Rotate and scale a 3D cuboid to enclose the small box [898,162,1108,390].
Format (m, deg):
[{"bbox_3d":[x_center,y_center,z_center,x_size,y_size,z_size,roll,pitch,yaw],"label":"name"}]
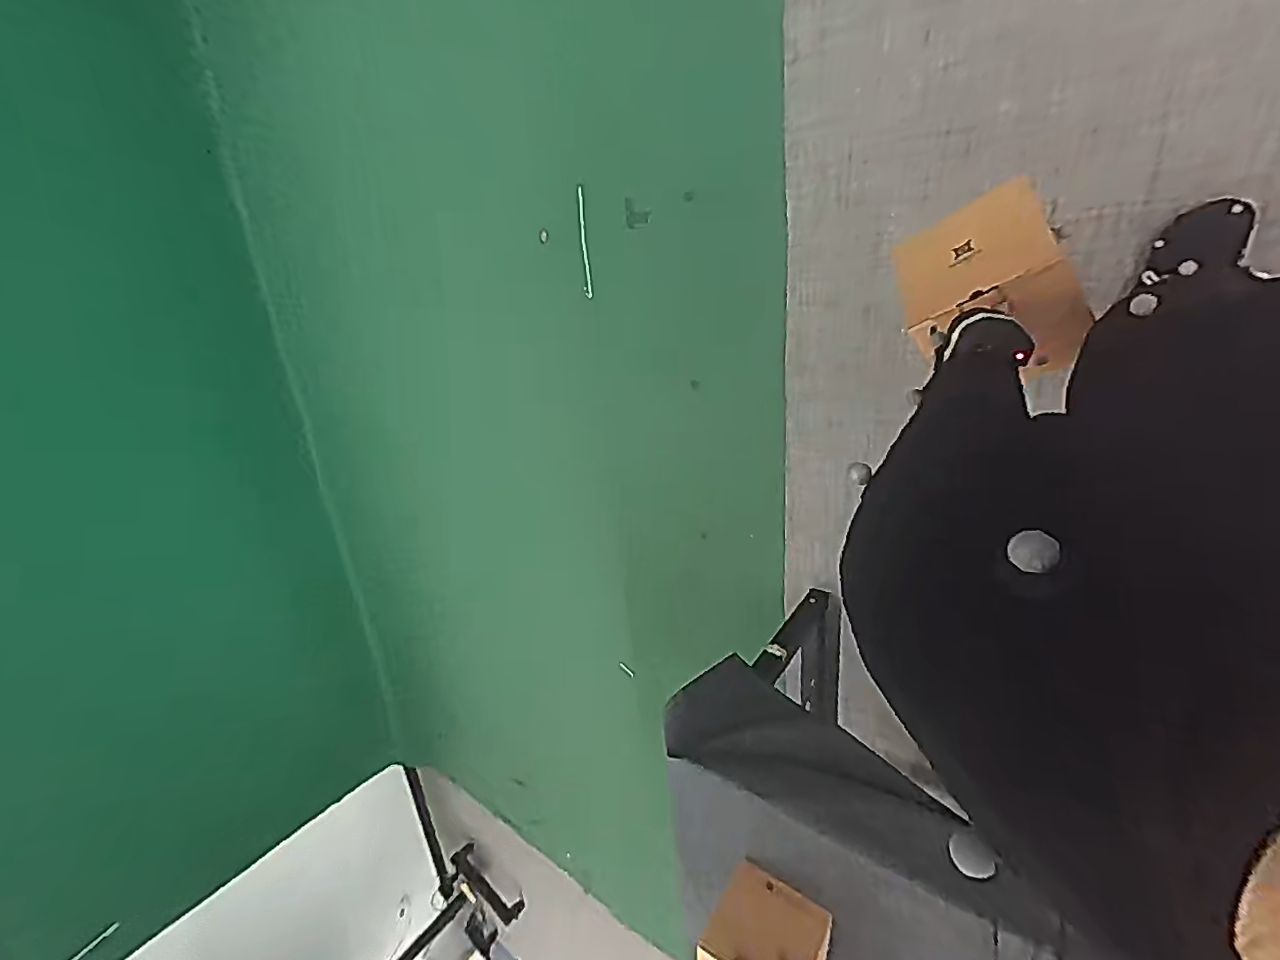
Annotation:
[{"bbox_3d":[0.459,-0.251,0.697,0.176,0.179,0.168,33,140,-31],"label":"small box"}]
